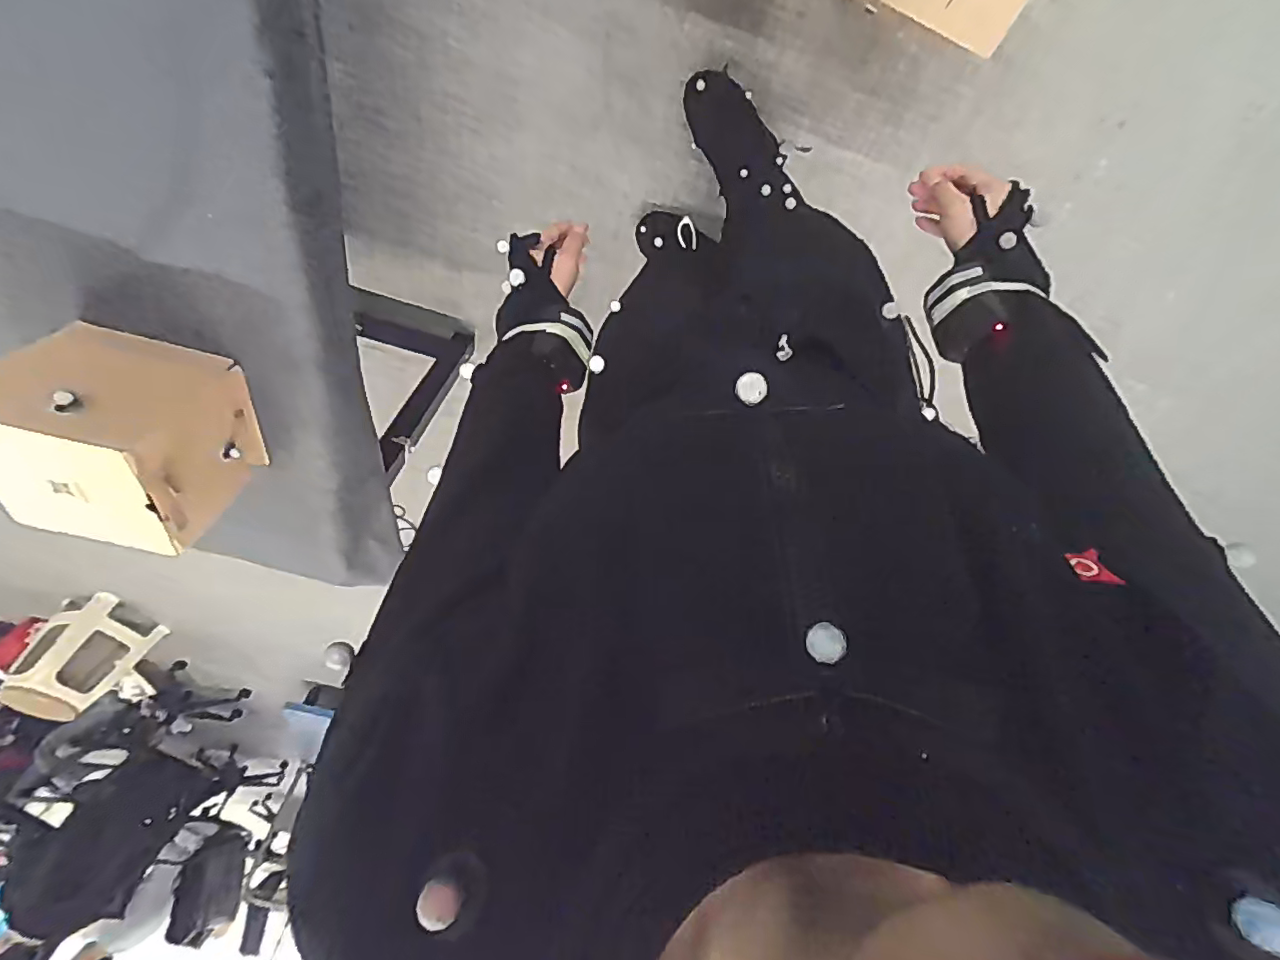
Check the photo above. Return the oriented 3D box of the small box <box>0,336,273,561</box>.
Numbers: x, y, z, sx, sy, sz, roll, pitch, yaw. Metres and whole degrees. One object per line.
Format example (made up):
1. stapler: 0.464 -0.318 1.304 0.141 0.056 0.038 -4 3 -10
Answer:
1. small box: -0.562 -0.040 0.605 0.179 0.176 0.168 13 132 -5

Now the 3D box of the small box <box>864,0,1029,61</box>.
1. small box: 0.404 -0.667 0.671 0.168 0.176 0.179 20 133 -9
